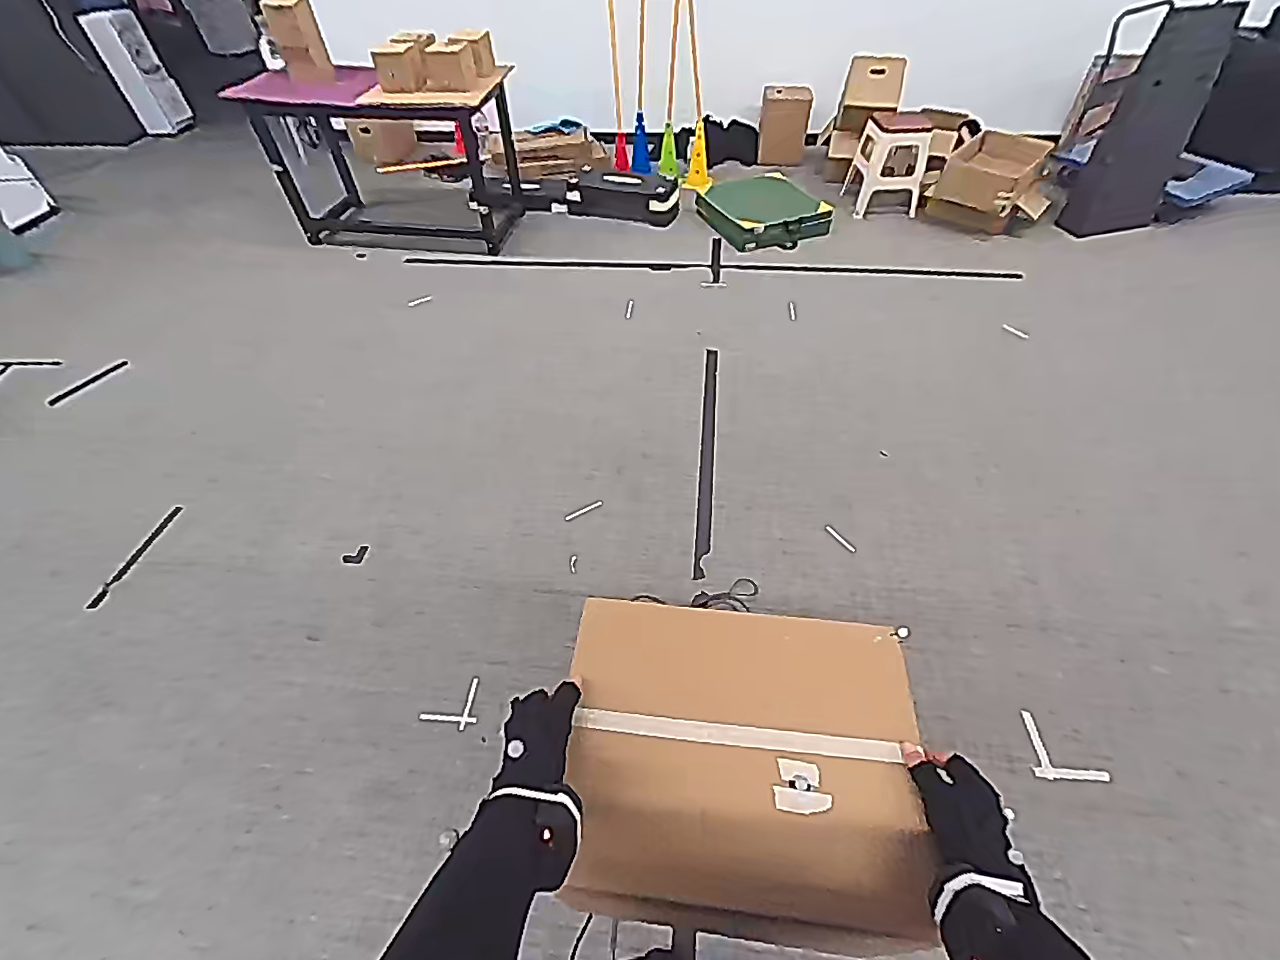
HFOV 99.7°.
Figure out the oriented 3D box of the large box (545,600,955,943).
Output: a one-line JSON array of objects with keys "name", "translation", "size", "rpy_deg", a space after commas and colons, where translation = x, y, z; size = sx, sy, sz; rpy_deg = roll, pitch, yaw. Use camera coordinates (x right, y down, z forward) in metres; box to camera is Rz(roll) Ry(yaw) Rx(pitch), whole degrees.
[{"name": "large box", "translation": [0.119, 0.390, 0.730], "size": [0.408, 0.320, 0.320], "rpy_deg": [5, 49, 6]}]
